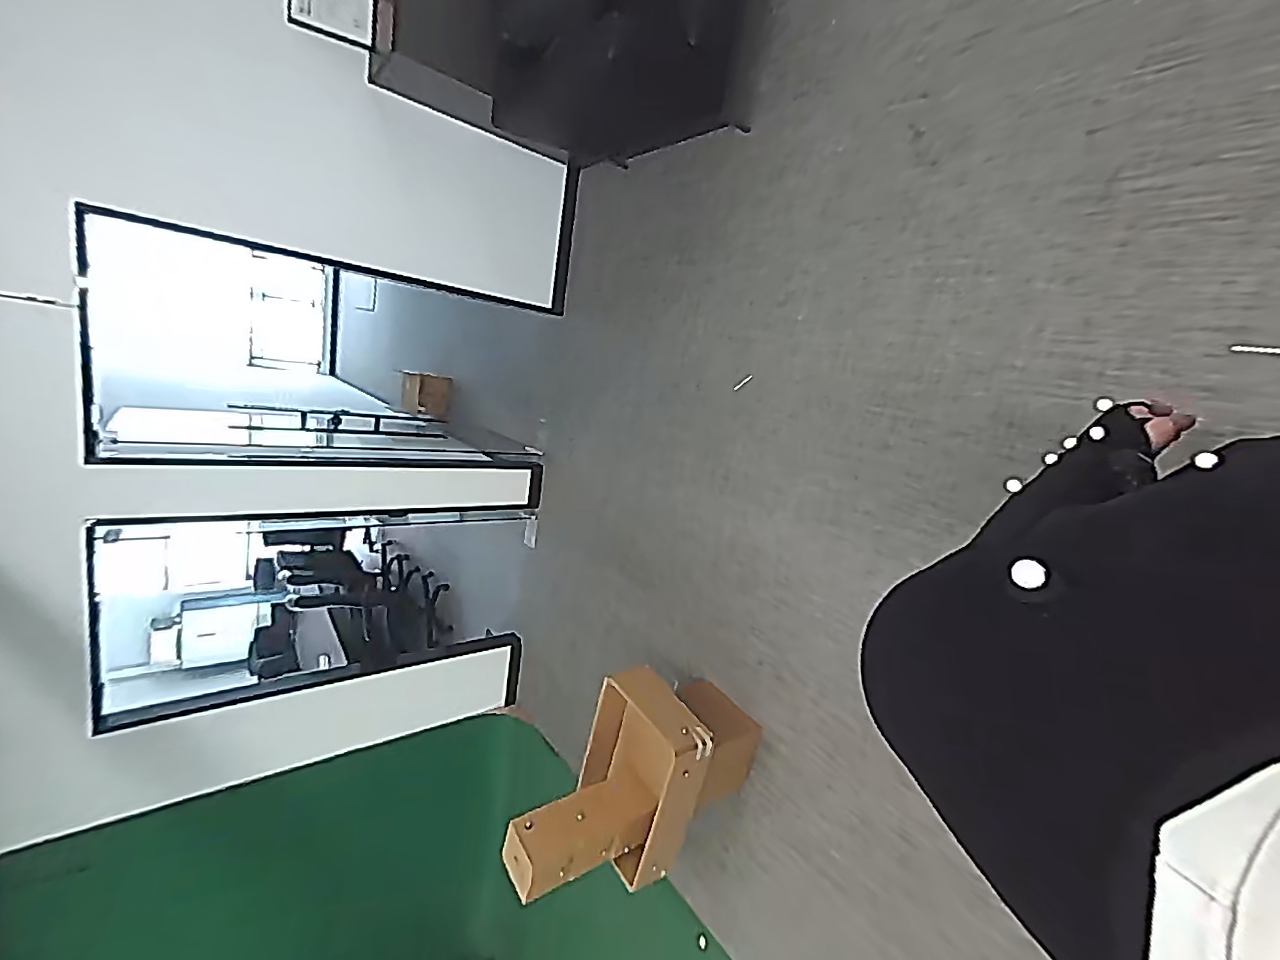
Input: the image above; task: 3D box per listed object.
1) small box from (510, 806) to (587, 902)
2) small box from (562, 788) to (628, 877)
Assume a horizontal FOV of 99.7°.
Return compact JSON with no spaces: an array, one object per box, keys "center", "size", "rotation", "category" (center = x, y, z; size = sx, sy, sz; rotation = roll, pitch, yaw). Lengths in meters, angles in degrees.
[{"center":[-0.298,1.203,1.760],"size":[0.179,0.176,0.168],"rotation":[34,117,44],"category":"small box"},{"center":[-0.169,1.200,1.863],"size":[0.179,0.176,0.168],"rotation":[33,115,44],"category":"small box"}]
